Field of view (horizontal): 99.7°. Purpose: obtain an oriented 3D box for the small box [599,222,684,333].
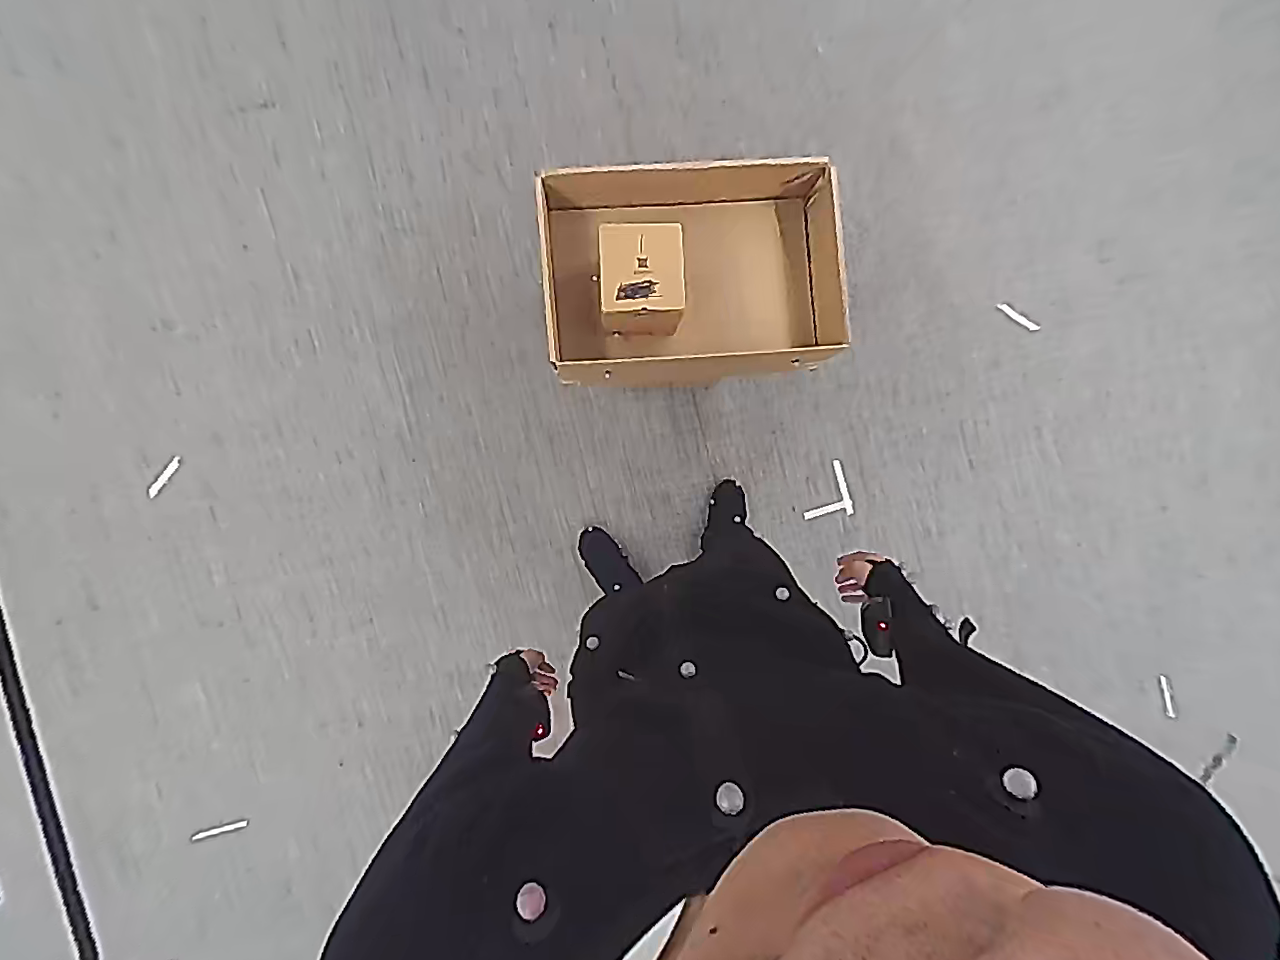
[{"bbox_3d":[-0.001,-0.413,1.129,0.168,0.176,0.179,-2,89,-4],"label":"small box"}]
